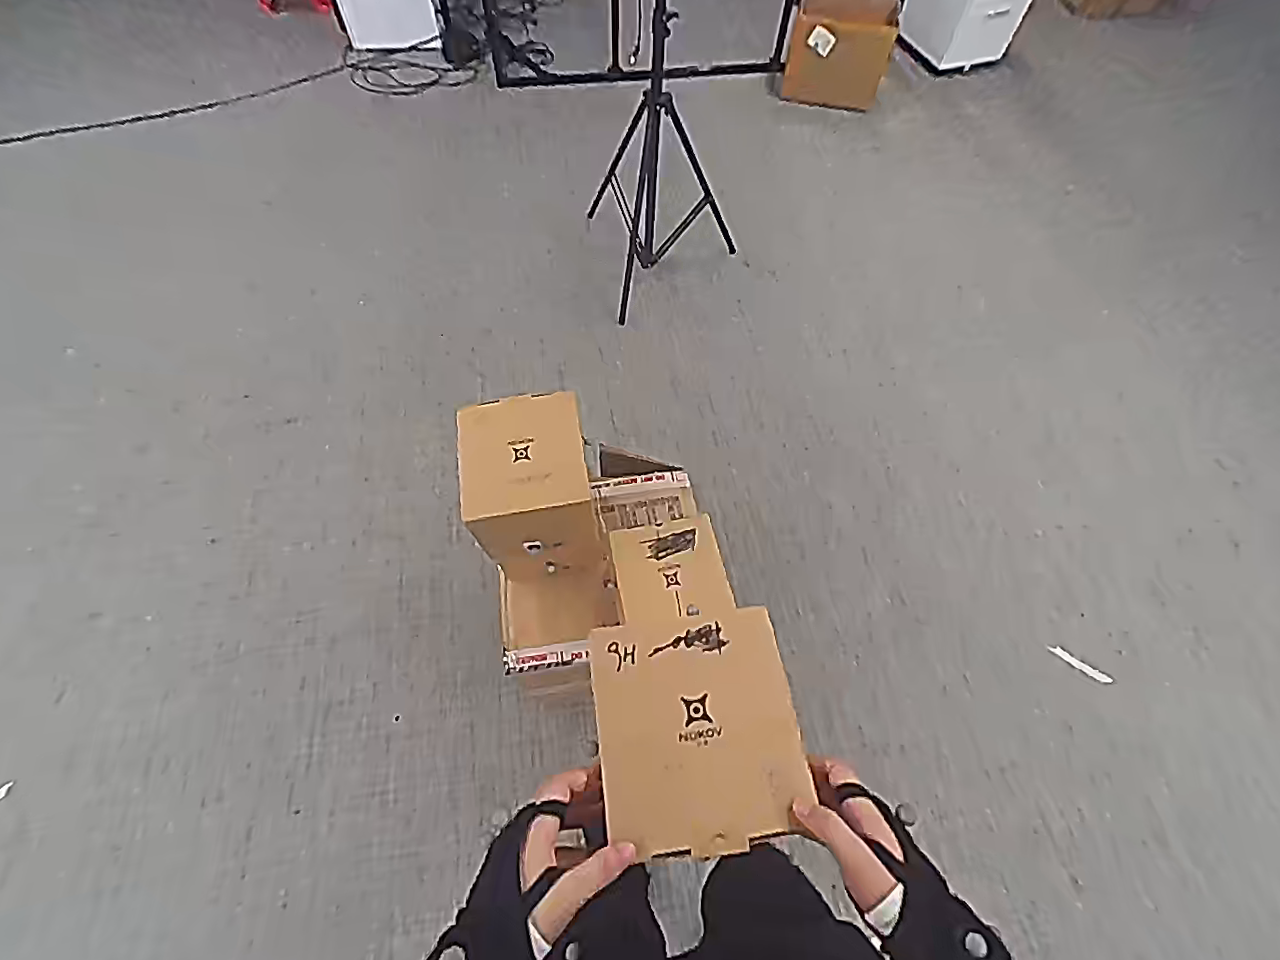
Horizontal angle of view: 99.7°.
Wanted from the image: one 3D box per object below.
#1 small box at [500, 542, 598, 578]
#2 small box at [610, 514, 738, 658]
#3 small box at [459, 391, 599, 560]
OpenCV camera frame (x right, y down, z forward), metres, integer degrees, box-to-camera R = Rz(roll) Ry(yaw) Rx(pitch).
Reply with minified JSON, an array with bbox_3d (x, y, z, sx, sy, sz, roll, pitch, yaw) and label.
[{"bbox_3d":[-0.168,0.053,0.941,0.168,0.176,0.179,-9,65,-5],"label":"small box"},{"bbox_3d":[0.044,0.178,0.885,0.168,0.176,0.179,-10,65,-7],"label":"small box"},{"bbox_3d":[-0.155,-0.001,0.787,0.168,0.176,0.179,-10,65,-5],"label":"small box"}]
